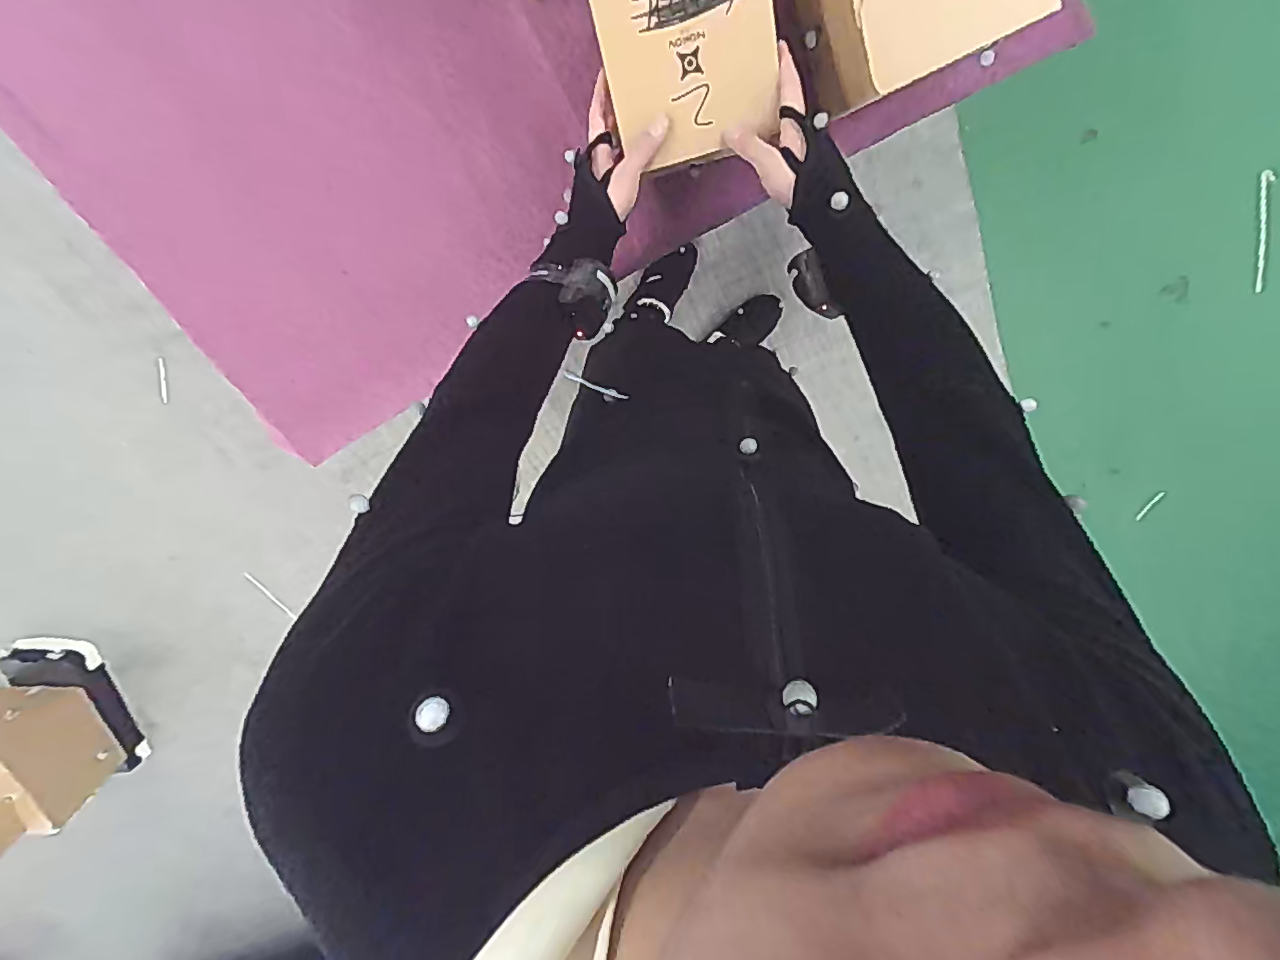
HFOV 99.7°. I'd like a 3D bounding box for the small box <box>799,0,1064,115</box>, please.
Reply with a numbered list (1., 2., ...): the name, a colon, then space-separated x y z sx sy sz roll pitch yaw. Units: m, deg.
1. small box: 0.276 -0.503 0.544 0.179 0.176 0.168 -20 114 12
